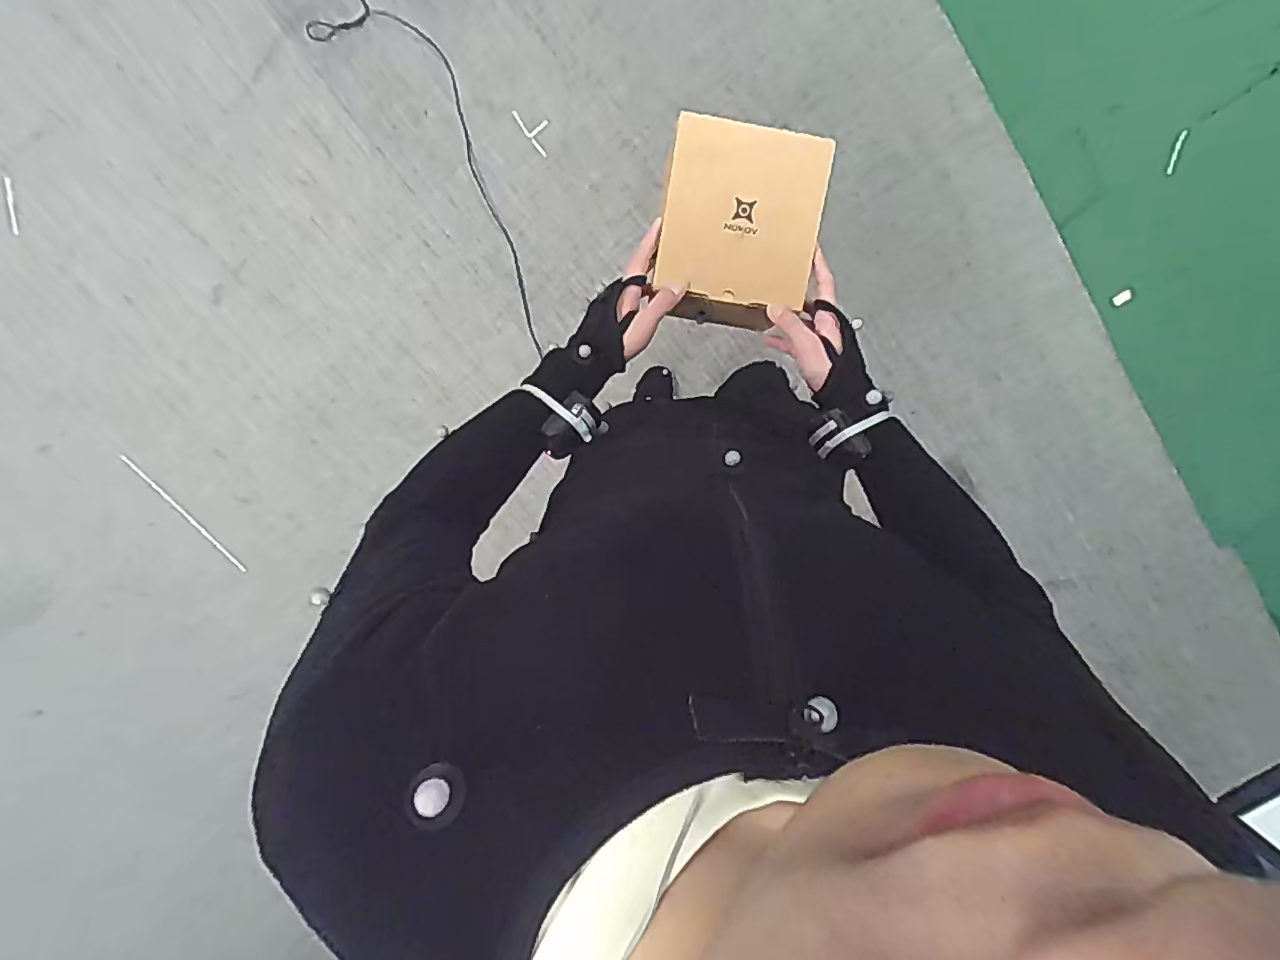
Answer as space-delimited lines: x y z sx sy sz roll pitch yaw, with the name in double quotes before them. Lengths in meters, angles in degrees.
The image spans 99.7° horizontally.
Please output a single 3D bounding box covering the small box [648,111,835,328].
"small box" 0.104 -0.289 0.641 0.168 0.176 0.179 9 100 -4
